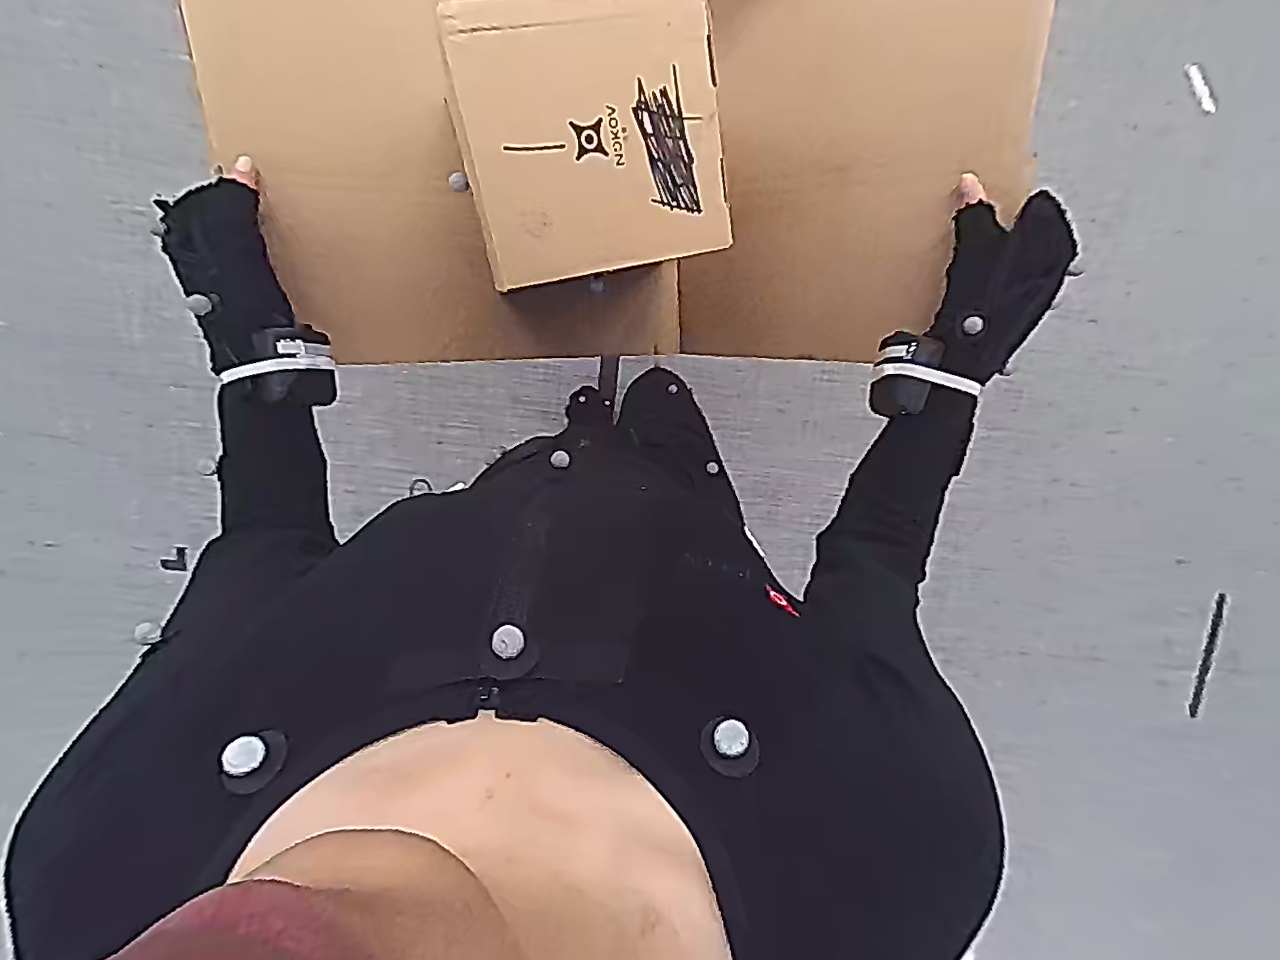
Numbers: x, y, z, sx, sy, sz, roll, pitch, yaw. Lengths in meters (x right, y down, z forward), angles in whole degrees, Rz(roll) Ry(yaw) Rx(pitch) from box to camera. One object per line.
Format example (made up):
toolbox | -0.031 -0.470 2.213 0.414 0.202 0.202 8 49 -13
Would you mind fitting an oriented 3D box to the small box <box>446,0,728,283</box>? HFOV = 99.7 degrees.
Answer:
small box | -0.047 -0.263 0.446 0.179 0.176 0.168 -15 112 -10
